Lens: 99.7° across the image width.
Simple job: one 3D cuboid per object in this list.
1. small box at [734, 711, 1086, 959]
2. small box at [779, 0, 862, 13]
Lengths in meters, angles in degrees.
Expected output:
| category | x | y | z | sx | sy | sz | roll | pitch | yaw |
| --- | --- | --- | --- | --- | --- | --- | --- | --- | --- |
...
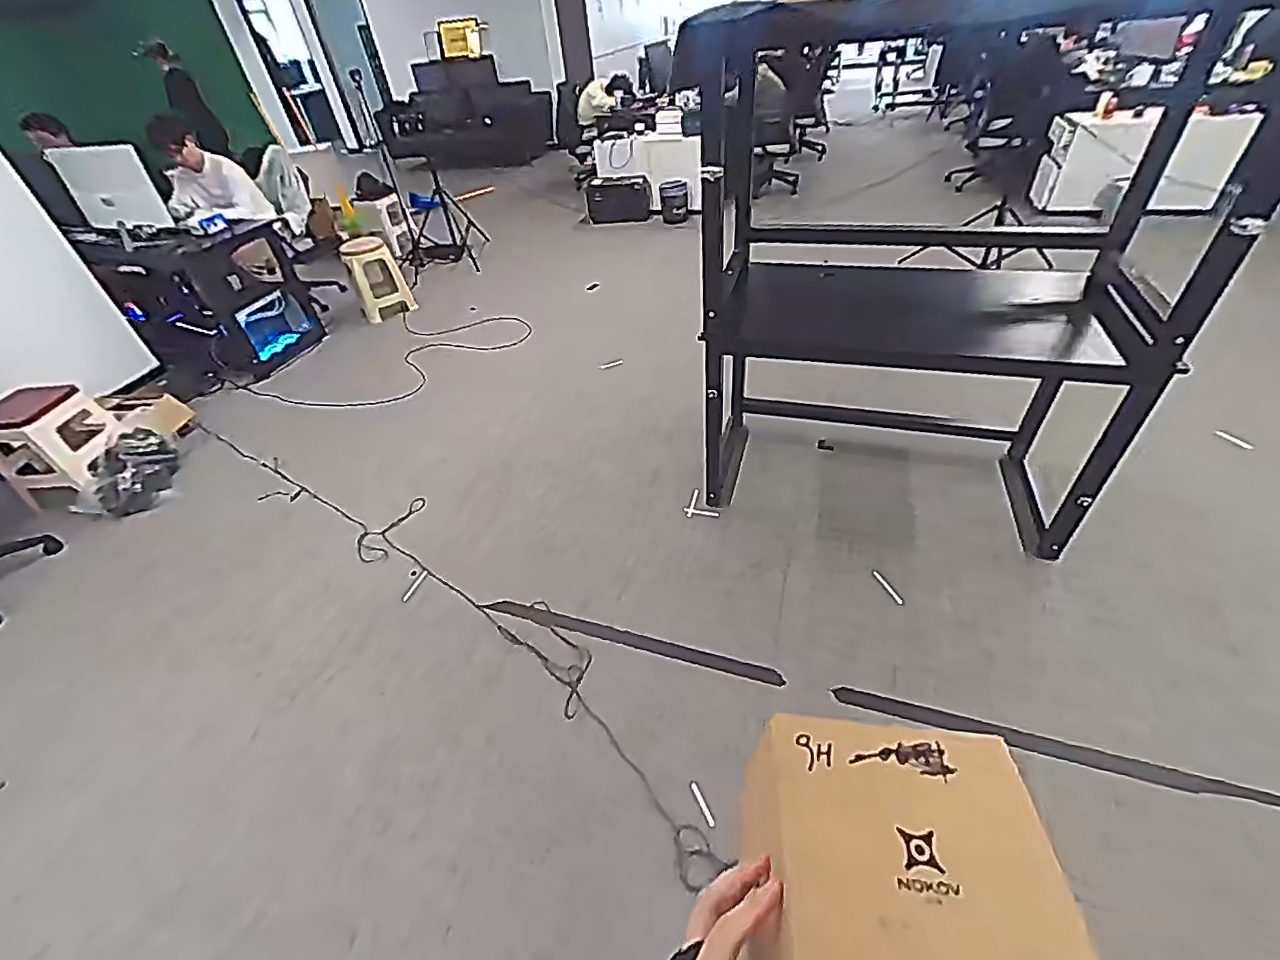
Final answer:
| category | x | y | z | sx | sy | sz | roll | pitch | yaw |
| --- | --- | --- | --- | --- | --- | --- | --- | --- | --- |
| small box | 0.159 | 0.290 | 0.372 | 0.168 | 0.176 | 0.179 | 5 | 40 | 3 |
| small box | 0.382 | -1.078 | 1.106 | 0.168 | 0.176 | 0.179 | 9 | 41 | 15 |
